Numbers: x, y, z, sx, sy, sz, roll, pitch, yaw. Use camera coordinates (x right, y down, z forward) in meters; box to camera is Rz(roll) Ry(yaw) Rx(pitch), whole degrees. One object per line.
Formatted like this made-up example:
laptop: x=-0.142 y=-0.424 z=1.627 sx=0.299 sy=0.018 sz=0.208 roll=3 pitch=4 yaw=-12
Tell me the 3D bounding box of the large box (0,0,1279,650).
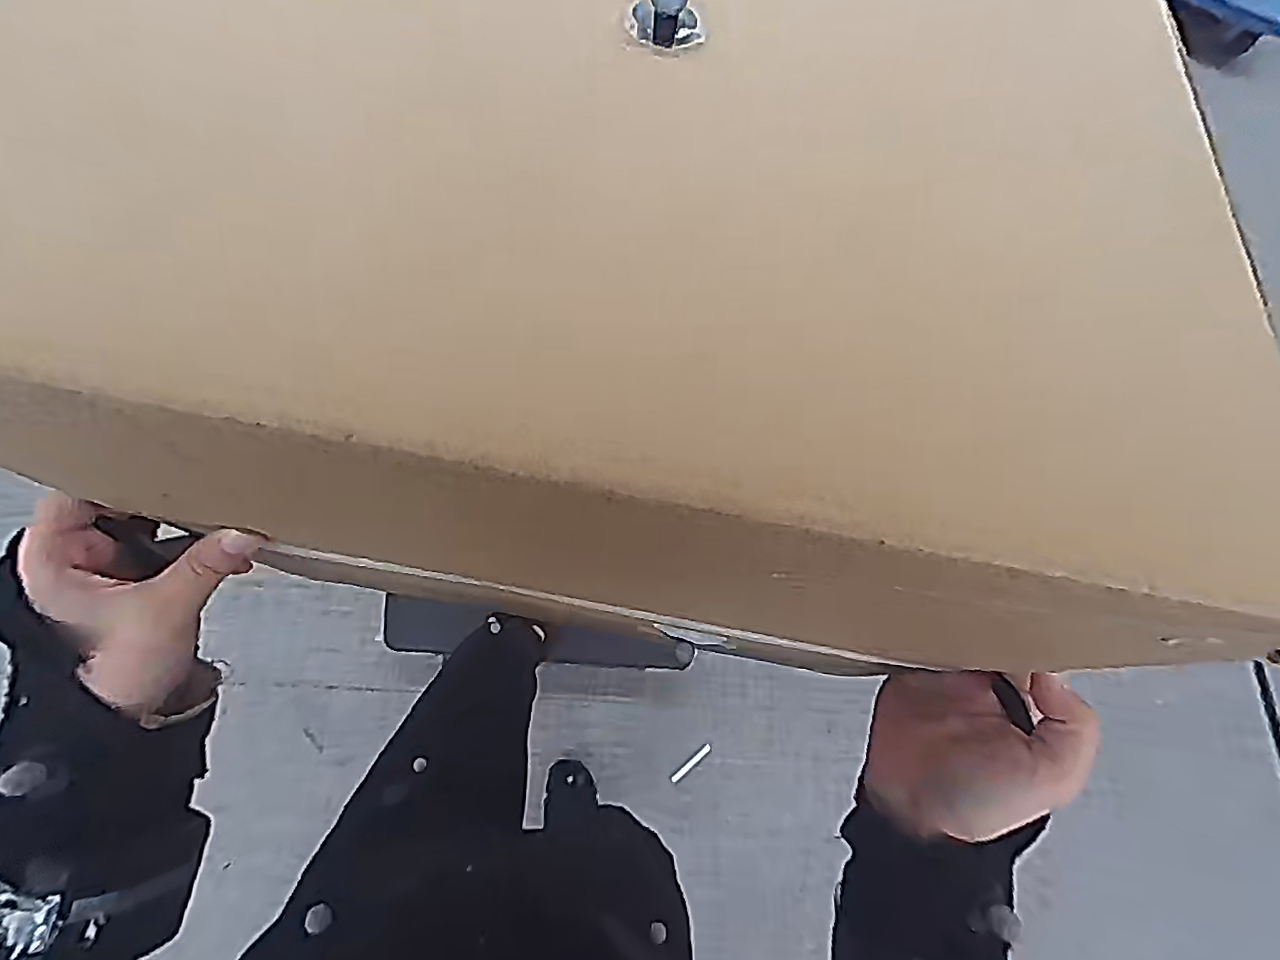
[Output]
large box: x=-0.025 y=-0.097 z=0.317 sx=0.408 sy=0.320 sz=0.320 roll=9 pitch=70 yaw=-2
